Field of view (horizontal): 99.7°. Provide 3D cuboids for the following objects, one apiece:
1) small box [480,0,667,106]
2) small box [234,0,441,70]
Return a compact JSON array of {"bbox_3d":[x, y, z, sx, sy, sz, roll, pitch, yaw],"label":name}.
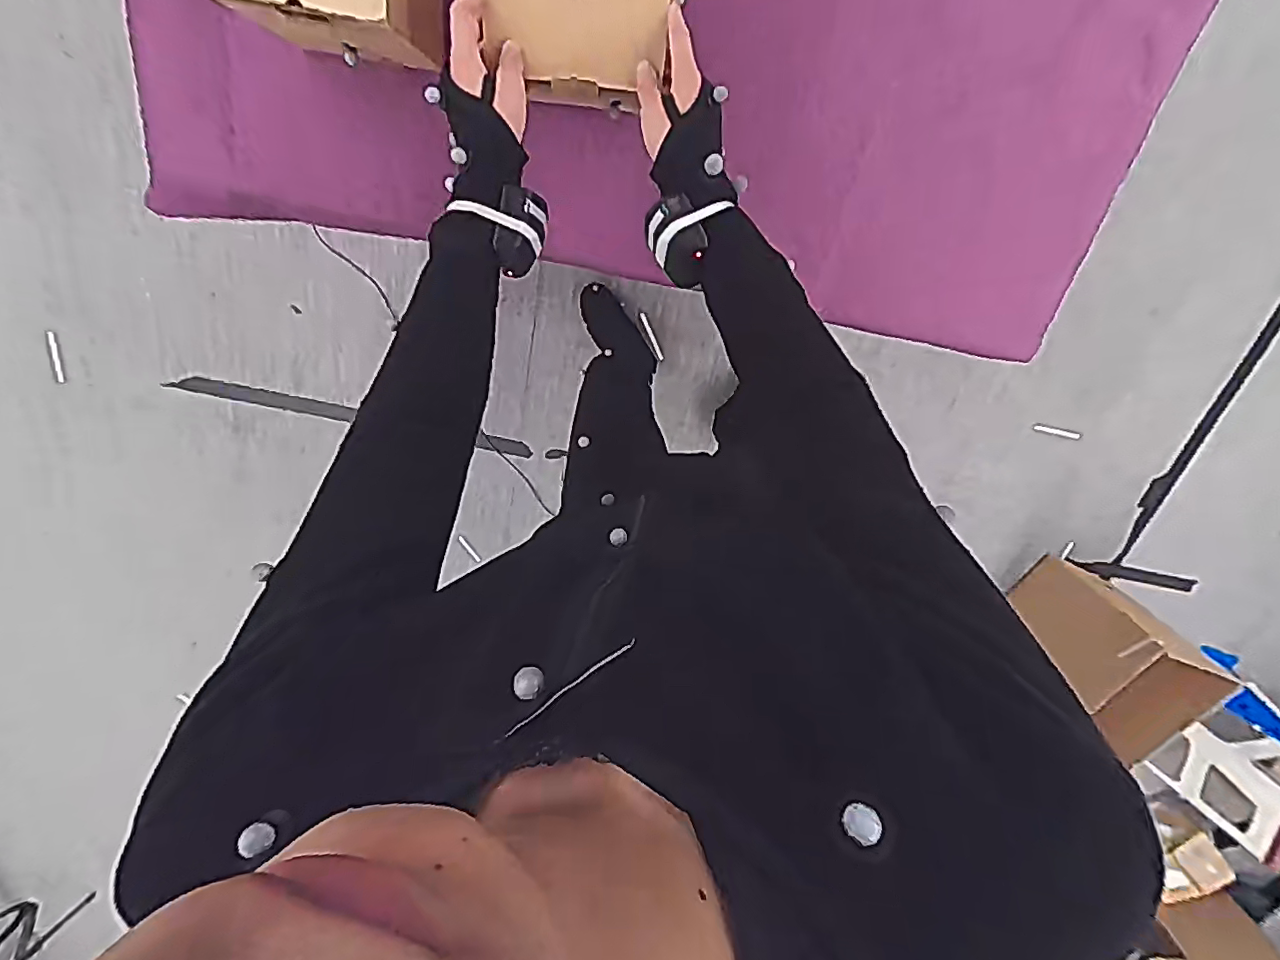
[{"bbox_3d":[-0.055,-0.483,0.528,0.168,0.176,0.179,5,120,-4],"label":"small box"},{"bbox_3d":[-0.299,-0.534,0.521,0.168,0.176,0.179,7,115,-4],"label":"small box"}]
